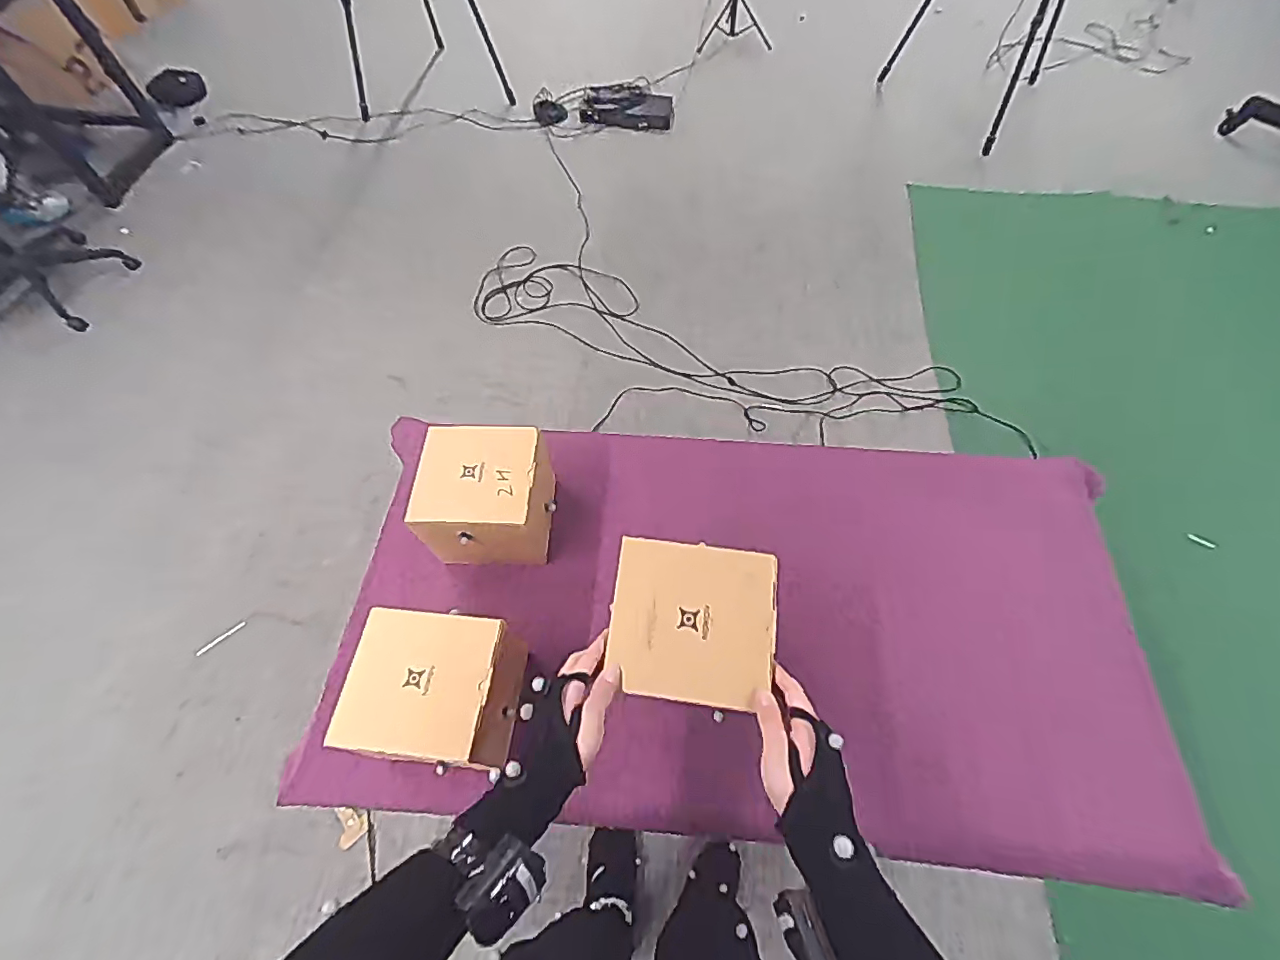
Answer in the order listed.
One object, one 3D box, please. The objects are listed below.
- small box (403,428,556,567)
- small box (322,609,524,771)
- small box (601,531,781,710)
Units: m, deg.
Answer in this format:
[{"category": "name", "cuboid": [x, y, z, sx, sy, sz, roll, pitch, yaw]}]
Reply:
[{"category": "small box", "cuboid": [-0.242, 0.033, 0.862, 0.179, 0.176, 0.168, 2, 61, 2]}, {"category": "small box", "cuboid": [-0.268, 0.284, 0.719, 0.179, 0.176, 0.168, 5, 59, 3]}, {"category": "small box", "cuboid": [0.061, 0.173, 0.649, 0.179, 0.176, 0.168, 7, 68, 6]}]
